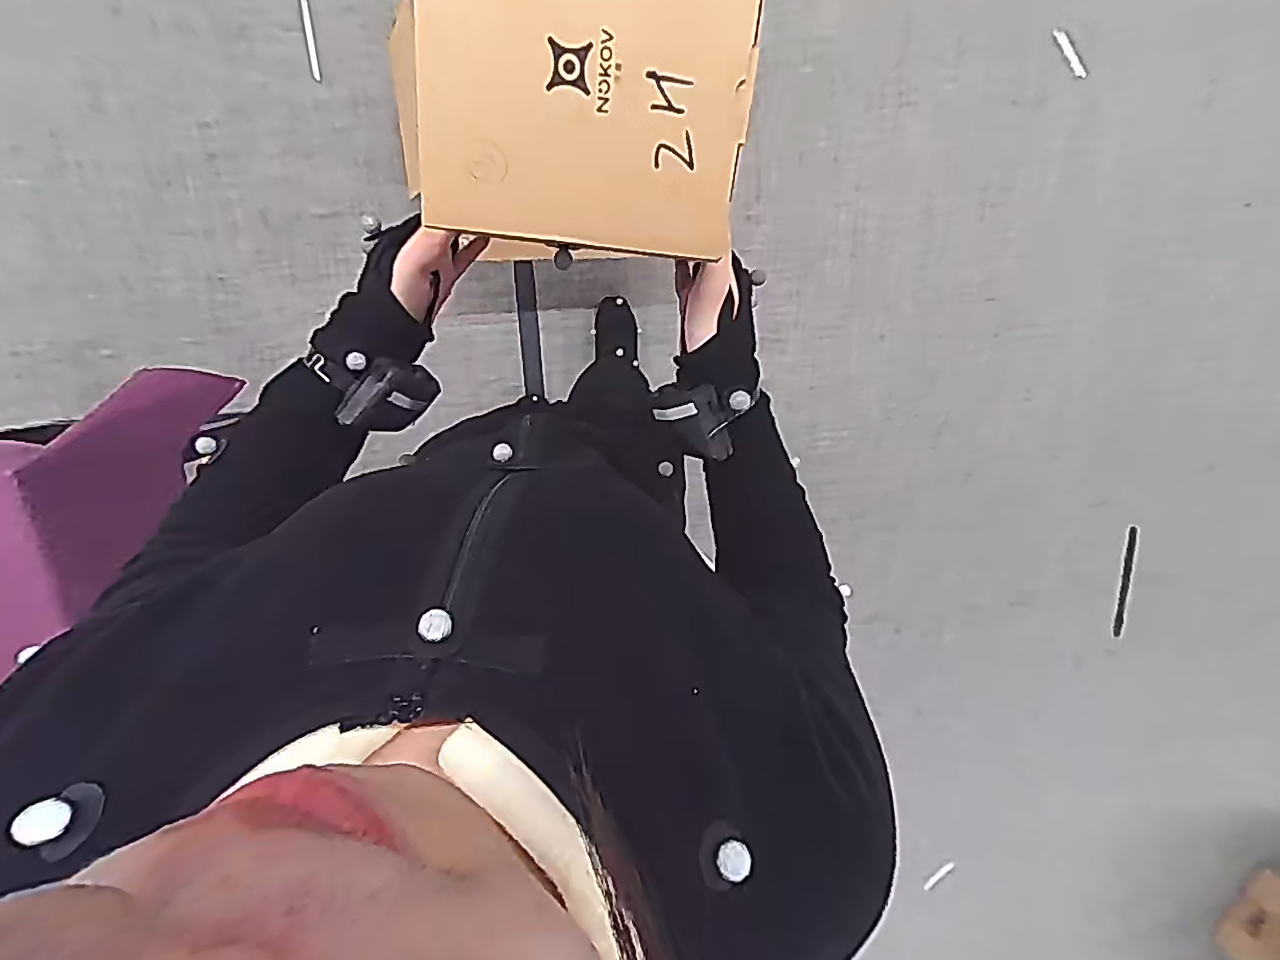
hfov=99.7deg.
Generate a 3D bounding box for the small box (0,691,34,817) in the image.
[{"bbox_3d":[-0.926,0.379,0.670,0.179,0.176,0.168,0,104,-4],"label":"small box"}]

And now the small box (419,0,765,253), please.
[{"bbox_3d":[-0.029,-0.246,0.354,0.179,0.176,0.168,5,113,-4],"label":"small box"}]
